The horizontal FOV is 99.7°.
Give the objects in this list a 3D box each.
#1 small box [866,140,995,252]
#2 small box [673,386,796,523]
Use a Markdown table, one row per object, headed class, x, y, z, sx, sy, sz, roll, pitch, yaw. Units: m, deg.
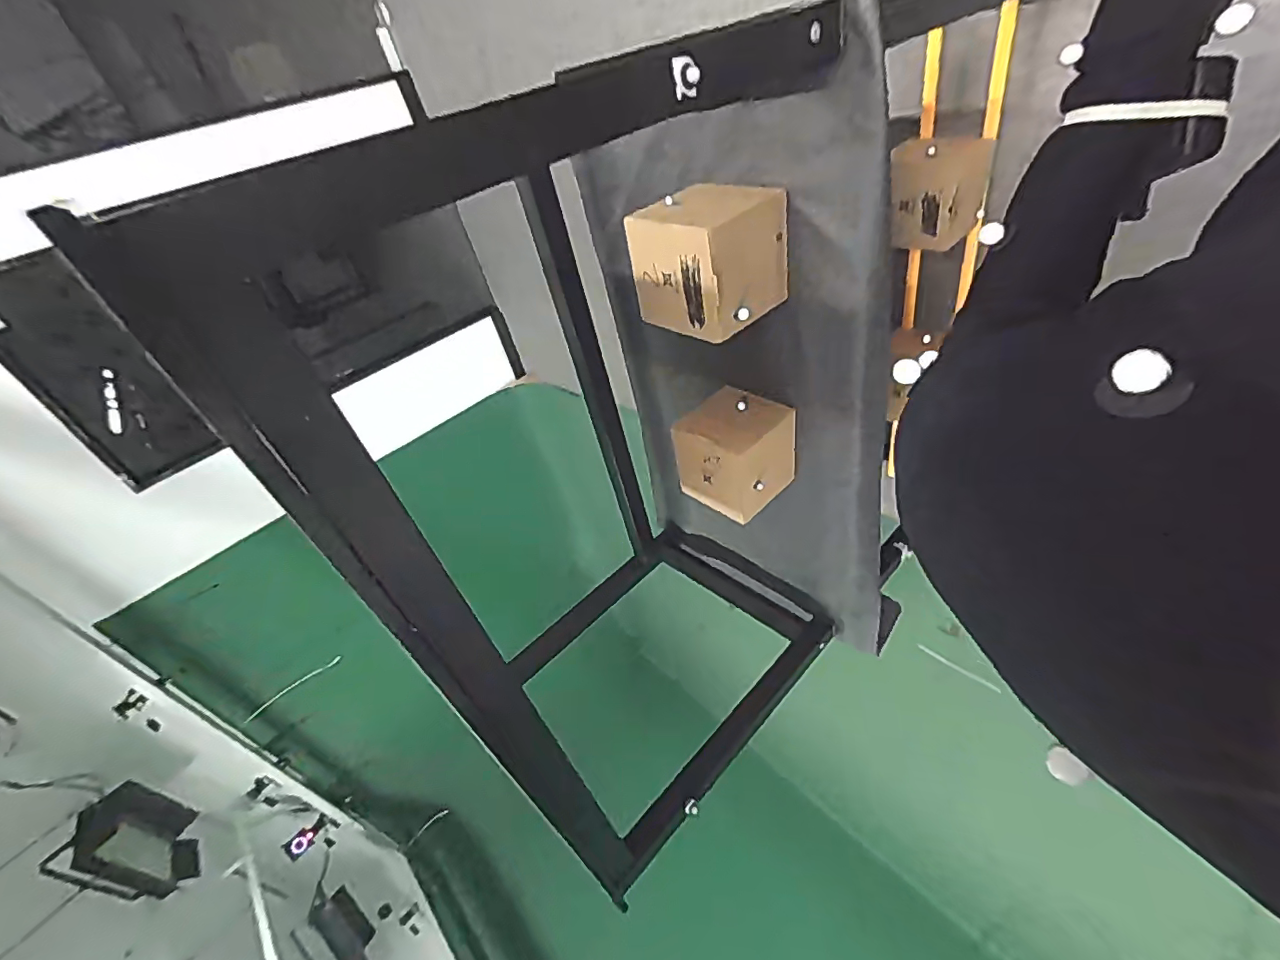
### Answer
| class | x | y | z | sx | sy | sz | roll | pitch | yaw |
| --- | --- | --- | --- | --- | --- | --- | --- | --- | --- |
| small box | 0.604 | -0.598 | 1.131 | 0.179 | 0.176 | 0.168 | 29 | 145 | 38 |
| small box | 0.189 | -0.054 | 1.059 | 0.168 | 0.176 | 0.179 | 29 | 145 | 38 |
